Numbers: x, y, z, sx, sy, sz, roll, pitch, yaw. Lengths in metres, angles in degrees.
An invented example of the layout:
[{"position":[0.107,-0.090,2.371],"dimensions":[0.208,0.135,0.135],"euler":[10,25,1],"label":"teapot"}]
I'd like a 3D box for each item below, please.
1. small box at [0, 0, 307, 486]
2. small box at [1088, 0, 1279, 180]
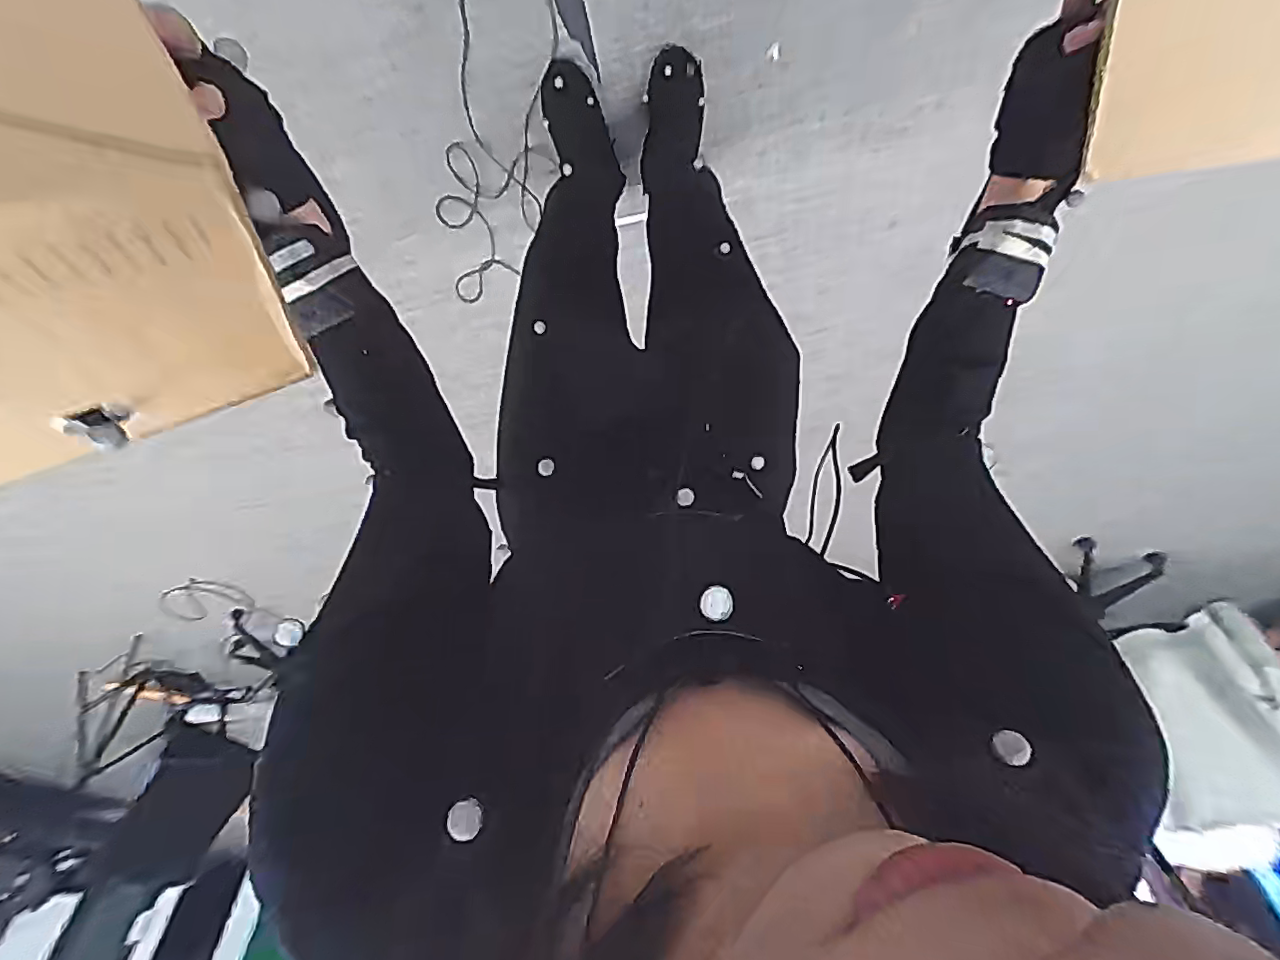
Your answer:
[{"position":[-0.249,-0.101,0.168],"dimensions":[0.179,0.168,0.176],"euler":[-29,180,-24],"label":"small box"},{"position":[0.291,-0.251,0.198],"dimensions":[0.168,0.179,0.176],"euler":[10,148,35],"label":"small box"}]
